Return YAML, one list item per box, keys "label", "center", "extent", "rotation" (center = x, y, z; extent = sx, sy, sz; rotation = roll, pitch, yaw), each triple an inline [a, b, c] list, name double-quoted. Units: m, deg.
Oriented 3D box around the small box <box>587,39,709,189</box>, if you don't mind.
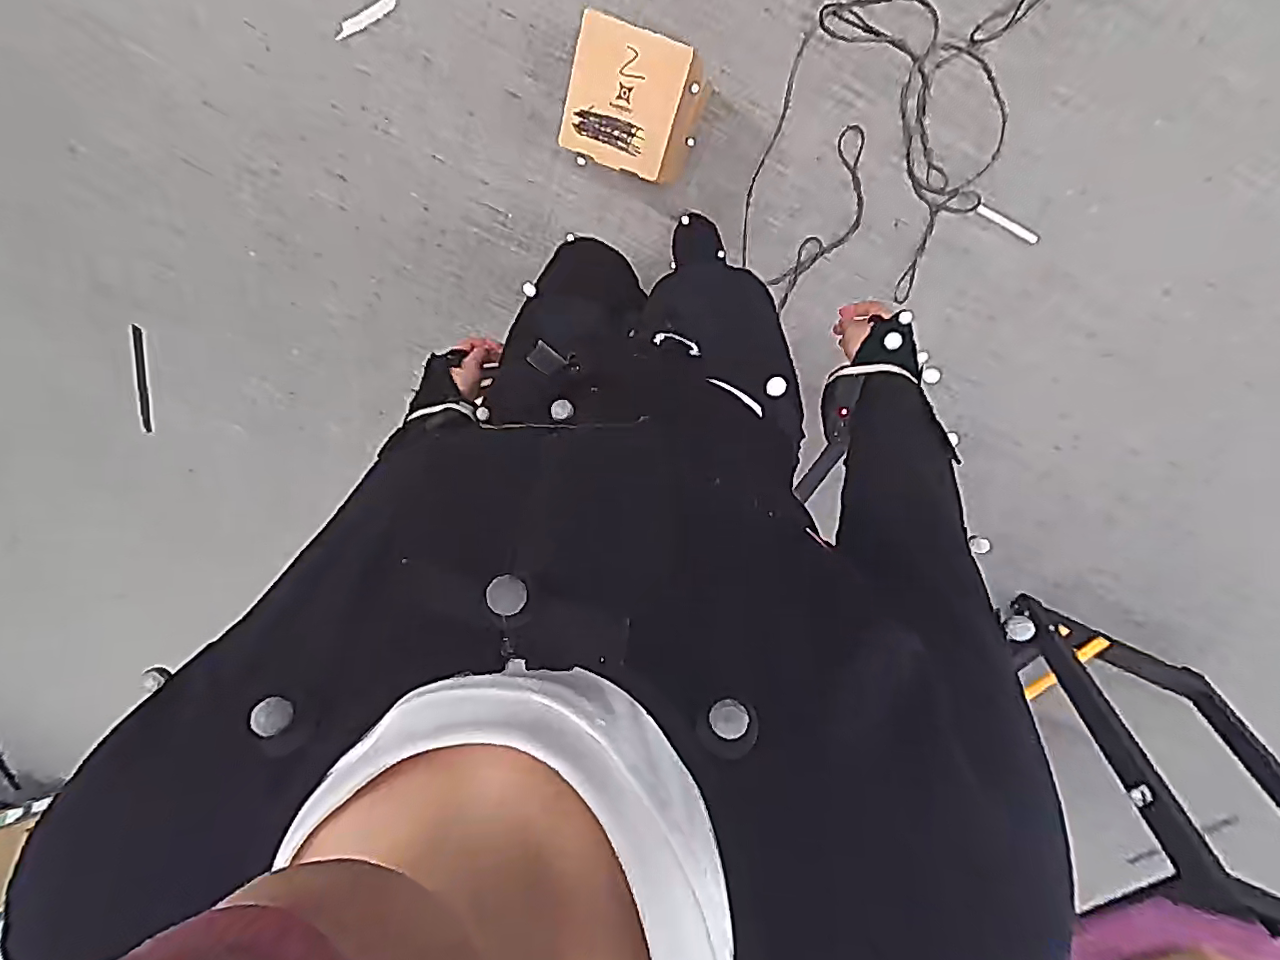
- label: "small box"
  center: [0.022, -0.669, 1.008]
  extent: [0.168, 0.176, 0.179]
  rotation: [24, 121, -3]
